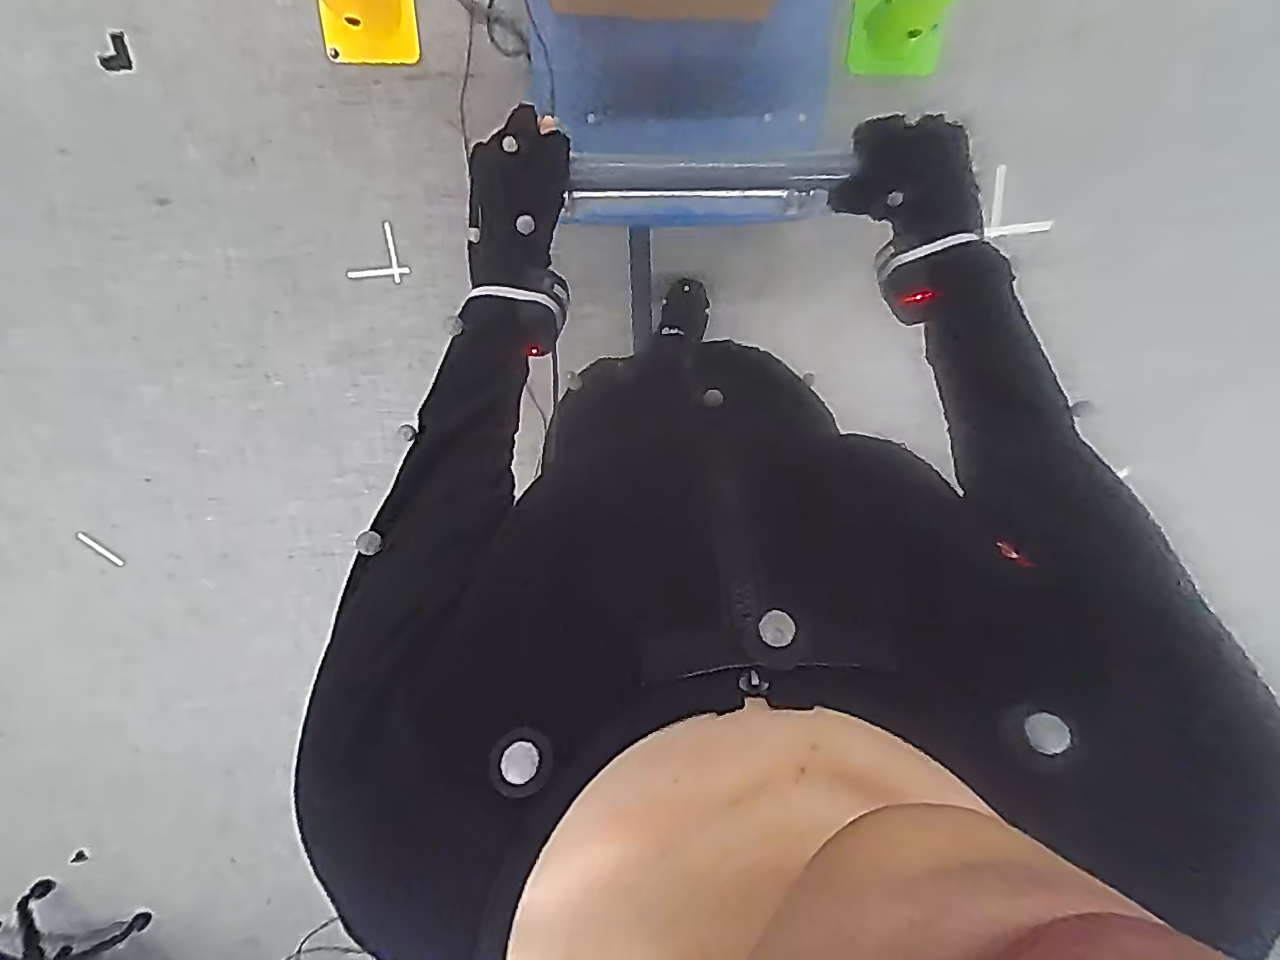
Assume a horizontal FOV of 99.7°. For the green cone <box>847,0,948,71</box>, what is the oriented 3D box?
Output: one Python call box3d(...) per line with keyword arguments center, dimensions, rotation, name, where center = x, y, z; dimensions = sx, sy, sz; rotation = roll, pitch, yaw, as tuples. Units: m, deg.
box3d(center=(0.558, -0.942, 1.000), dimensions=(0.202, 0.368, 0.200), rotation=(0, 110, -2), name="green cone")
